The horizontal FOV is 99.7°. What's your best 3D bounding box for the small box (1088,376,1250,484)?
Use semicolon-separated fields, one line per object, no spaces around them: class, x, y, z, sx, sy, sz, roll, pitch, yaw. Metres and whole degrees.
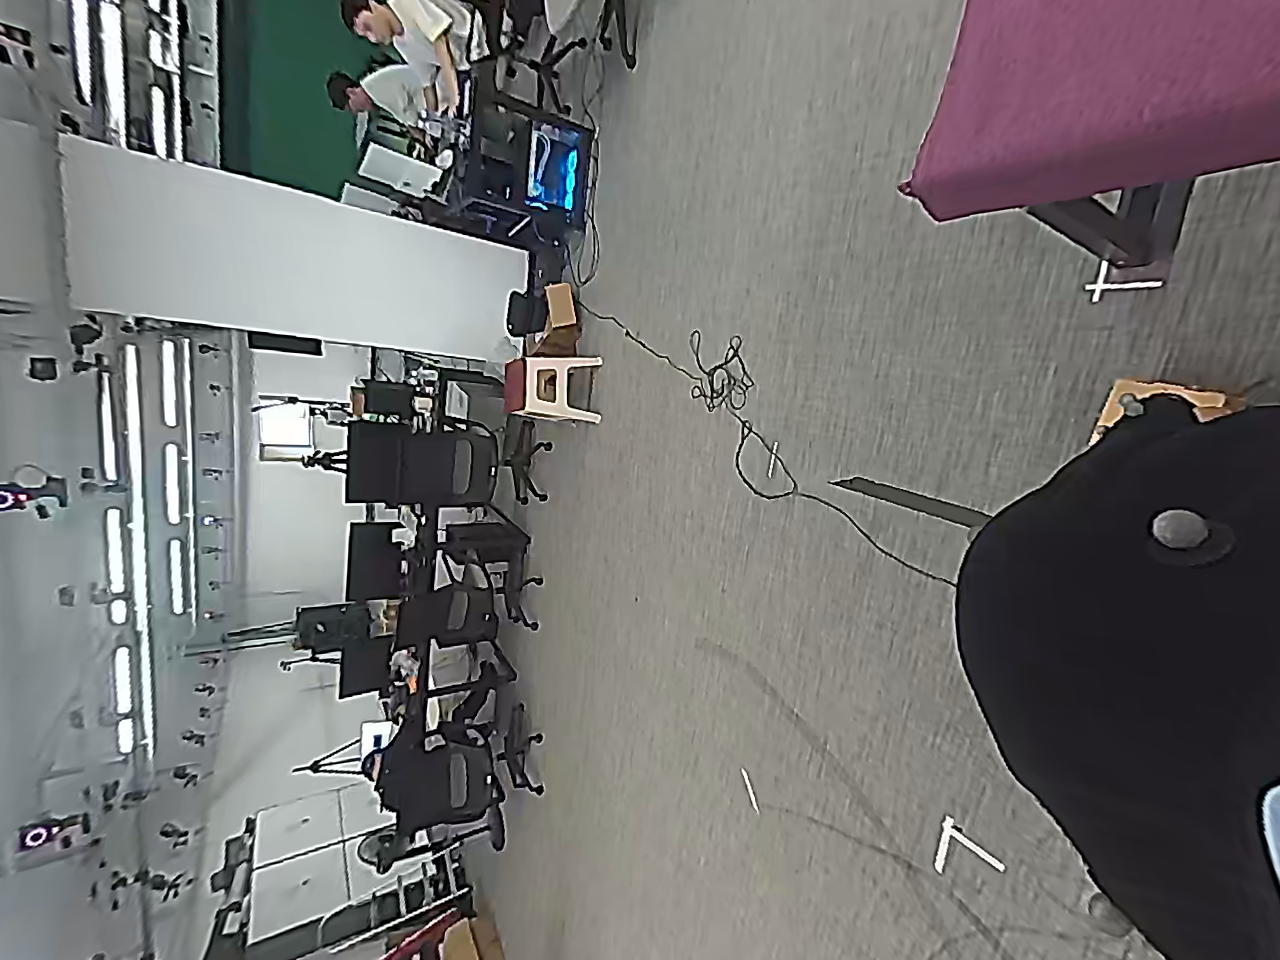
small box;1.053;-0.100;1.077;0.168;0.176;0.179;33;117;52
